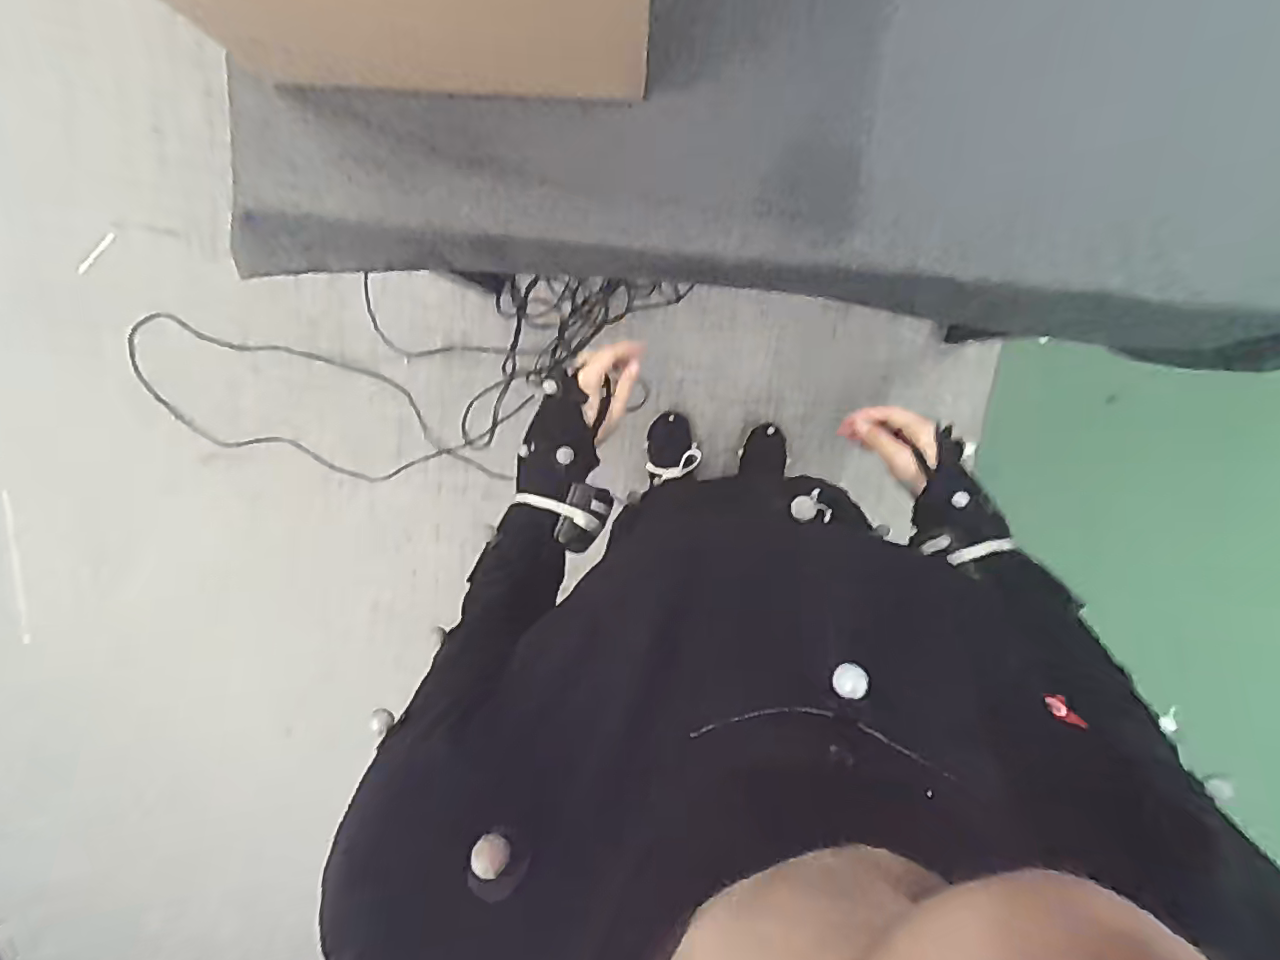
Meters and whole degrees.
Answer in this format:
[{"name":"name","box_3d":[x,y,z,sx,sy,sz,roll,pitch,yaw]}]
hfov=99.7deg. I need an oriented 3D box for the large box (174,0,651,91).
[{"name":"large box","box_3d":[-0.188,-0.532,0.393,0.408,0.320,0.320,3,101,0]}]
